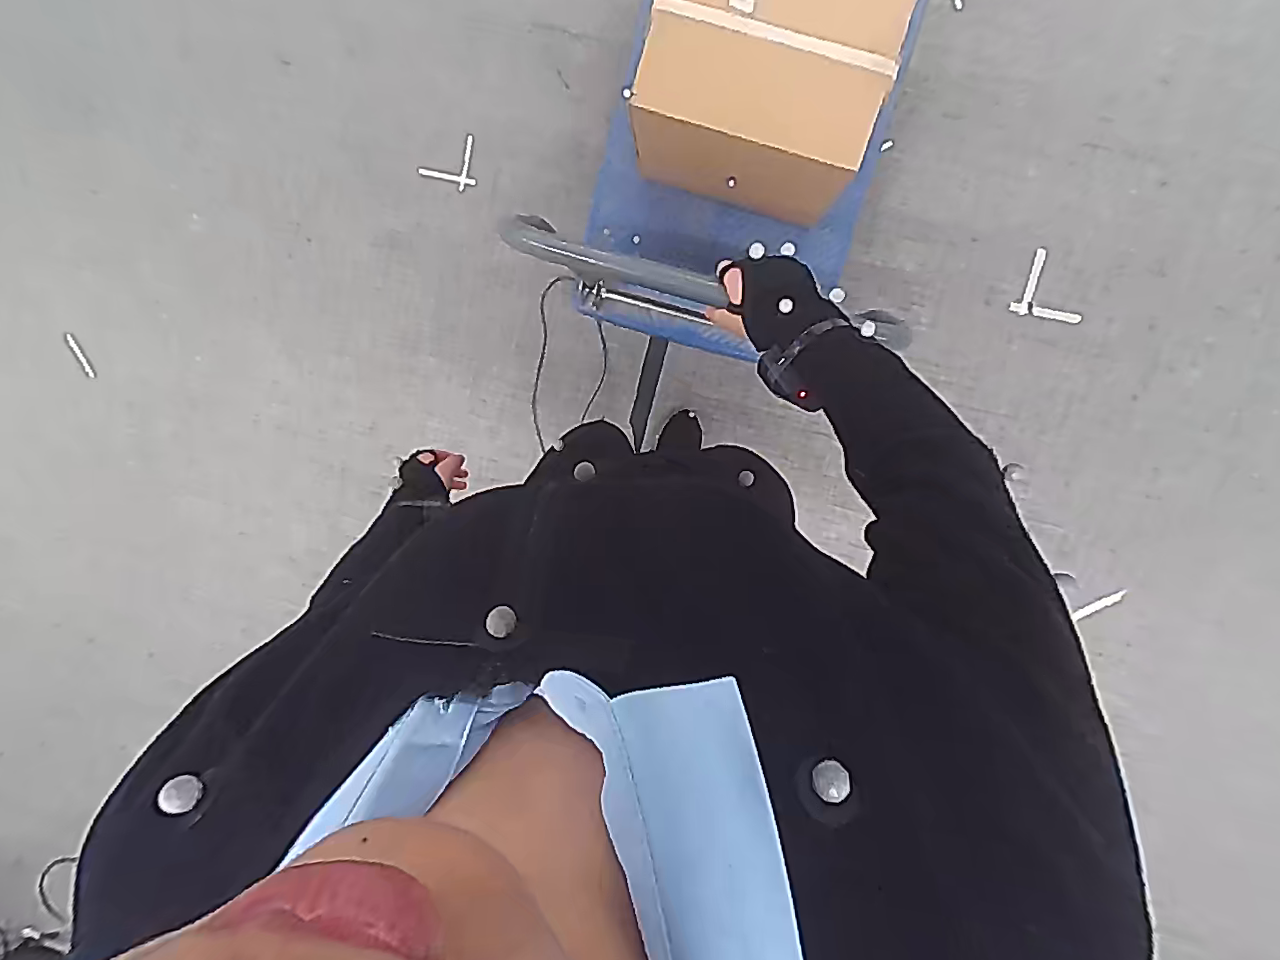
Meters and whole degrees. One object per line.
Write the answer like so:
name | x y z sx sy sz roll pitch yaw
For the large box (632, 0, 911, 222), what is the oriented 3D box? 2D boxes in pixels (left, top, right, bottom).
large box | 0.230 -0.746 1.043 0.408 0.320 0.320 18 99 2
